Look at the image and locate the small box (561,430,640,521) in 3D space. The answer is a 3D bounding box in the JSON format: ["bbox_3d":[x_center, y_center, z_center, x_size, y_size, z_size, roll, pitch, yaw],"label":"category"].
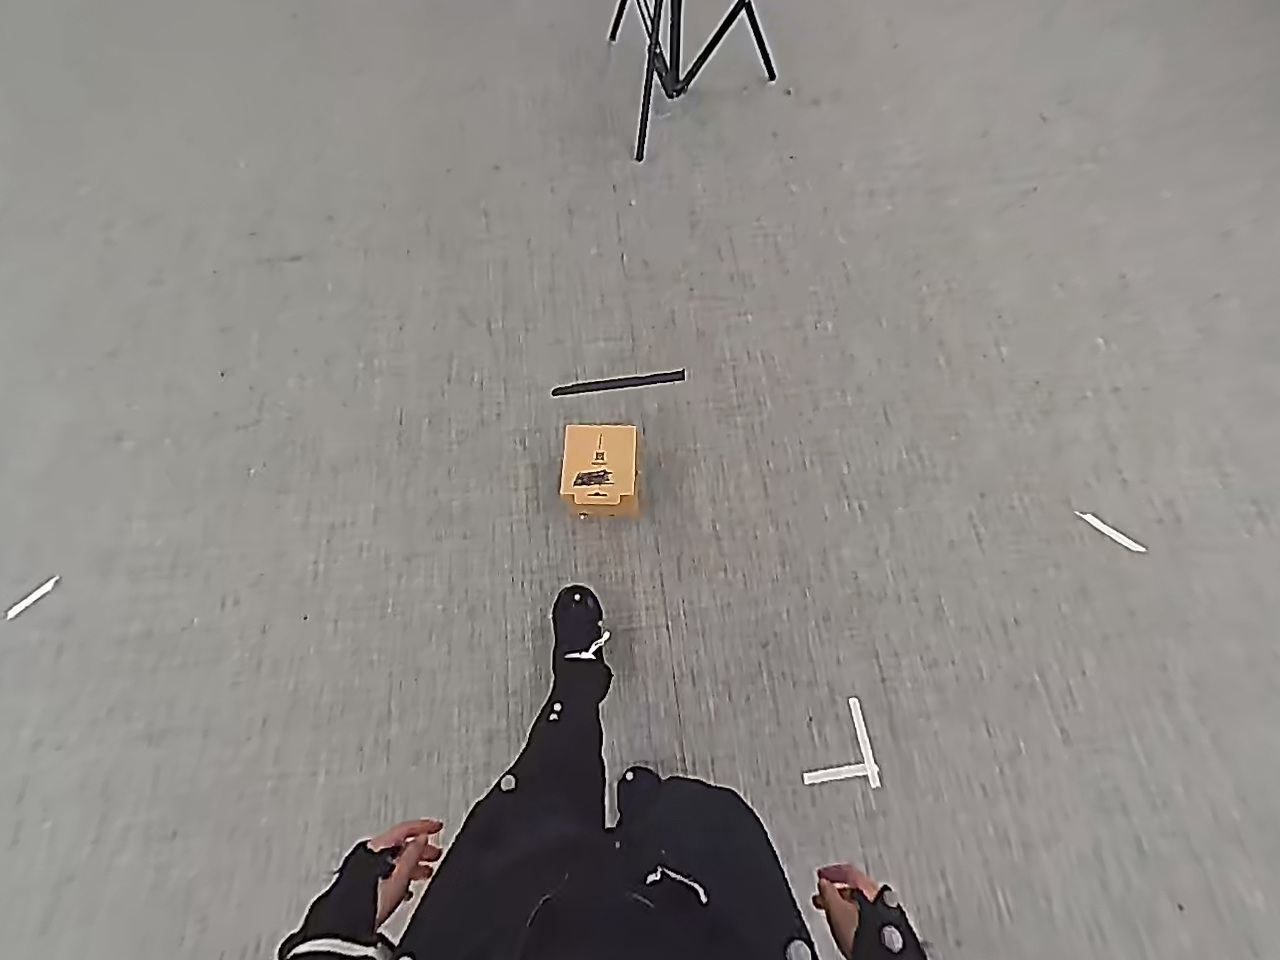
[{"bbox_3d":[-0.087,-0.006,1.293,0.168,0.176,0.179,1,69,2],"label":"small box"}]
